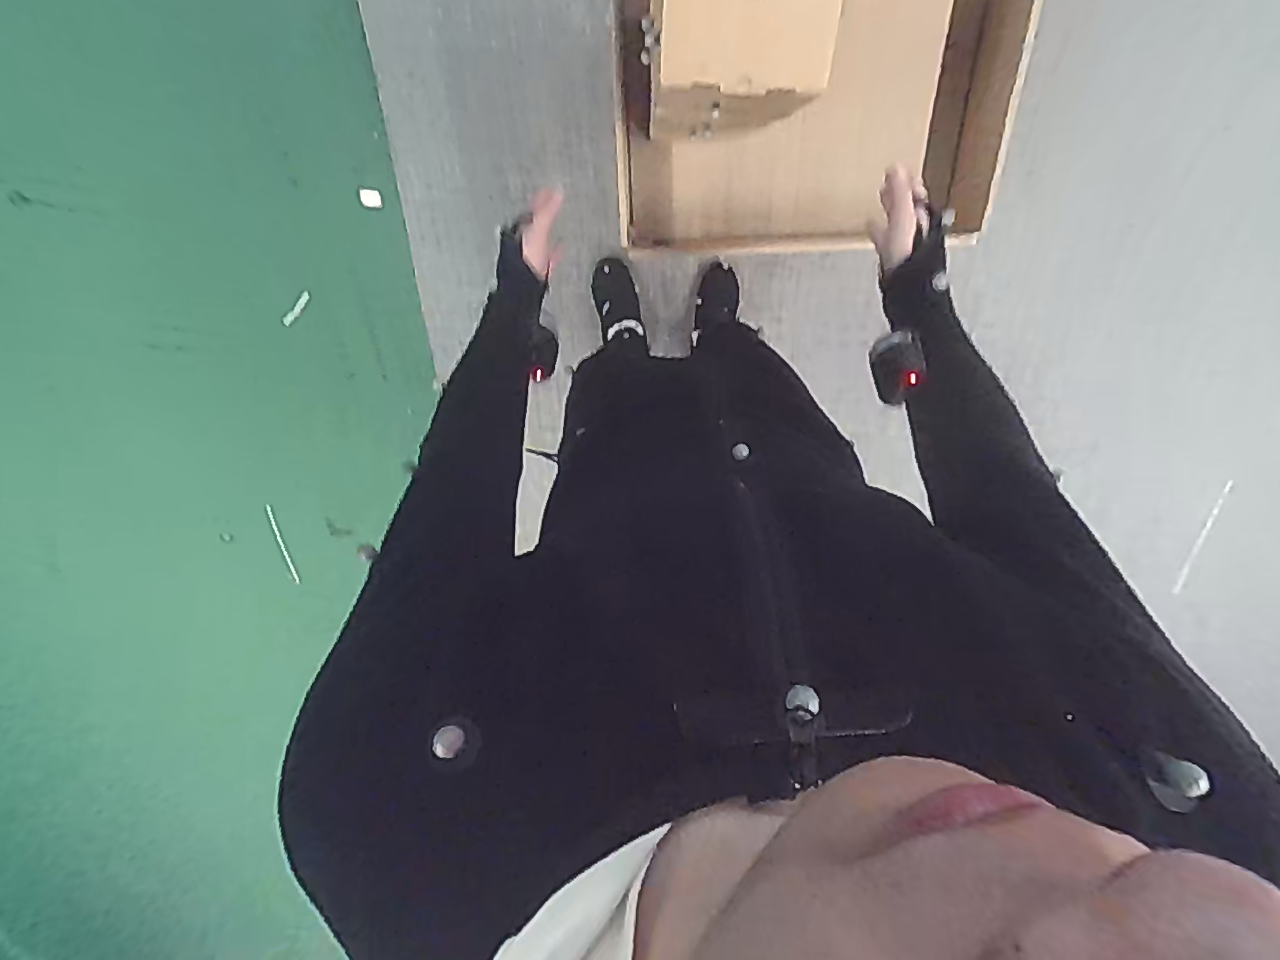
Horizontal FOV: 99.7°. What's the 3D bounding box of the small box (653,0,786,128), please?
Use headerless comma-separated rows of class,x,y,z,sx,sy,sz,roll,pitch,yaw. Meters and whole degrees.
small box,0.104,-0.571,0.696,0.168,0.176,0.179,2,118,0

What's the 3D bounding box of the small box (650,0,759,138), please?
small box,0.101,-0.646,0.842,0.168,0.176,0.179,-1,117,0

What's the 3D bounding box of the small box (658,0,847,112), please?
small box,0.108,-0.496,0.552,0.168,0.176,0.179,2,118,-2
